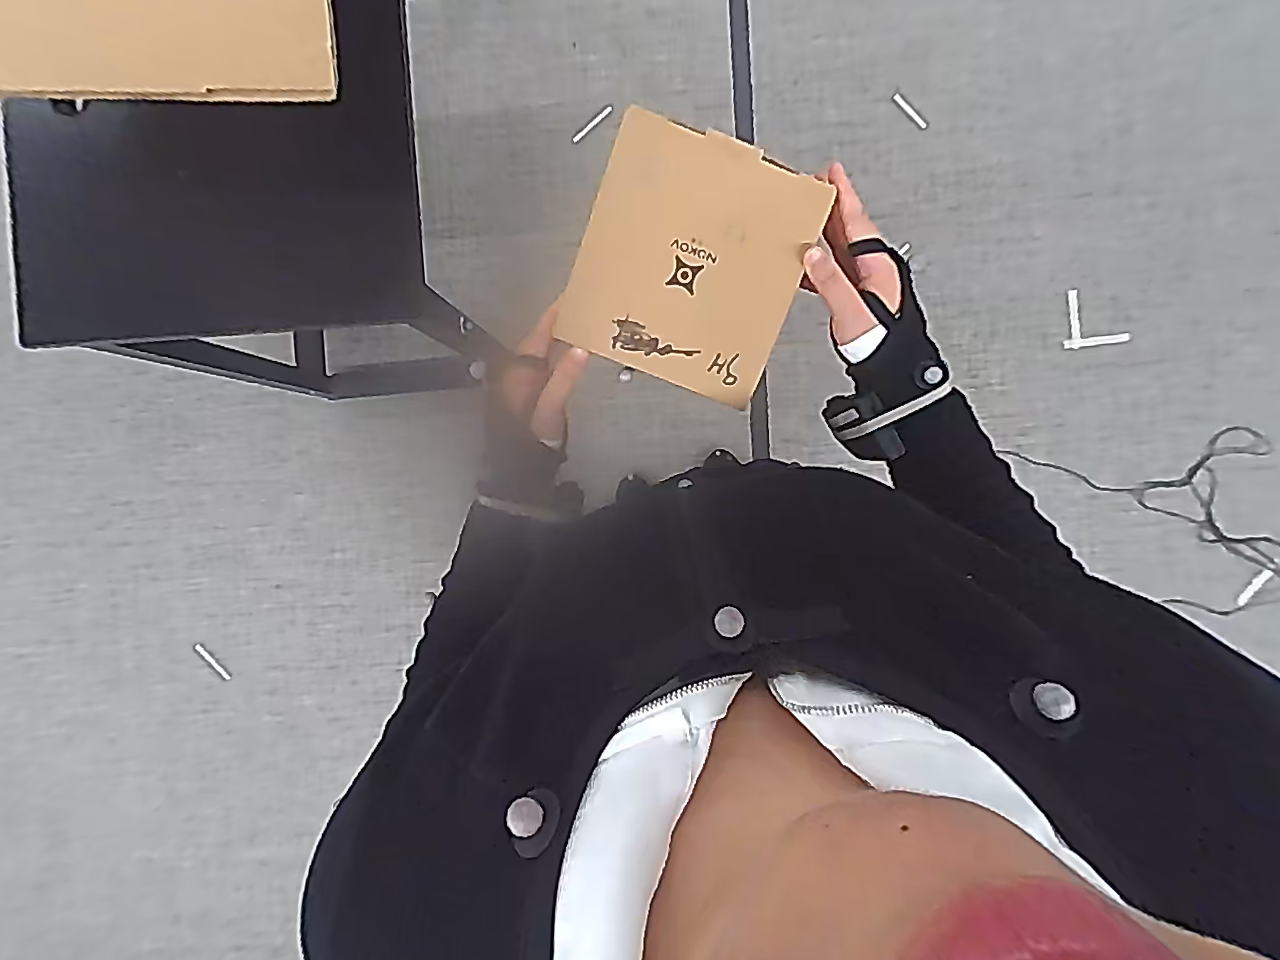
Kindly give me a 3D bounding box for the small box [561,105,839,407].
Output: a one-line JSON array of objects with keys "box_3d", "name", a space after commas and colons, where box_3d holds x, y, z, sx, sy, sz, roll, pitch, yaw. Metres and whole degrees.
[{"box_3d": [0.045, -0.179, 0.487, 0.168, 0.176, 0.179, 21, 101, -1], "name": "small box"}]
